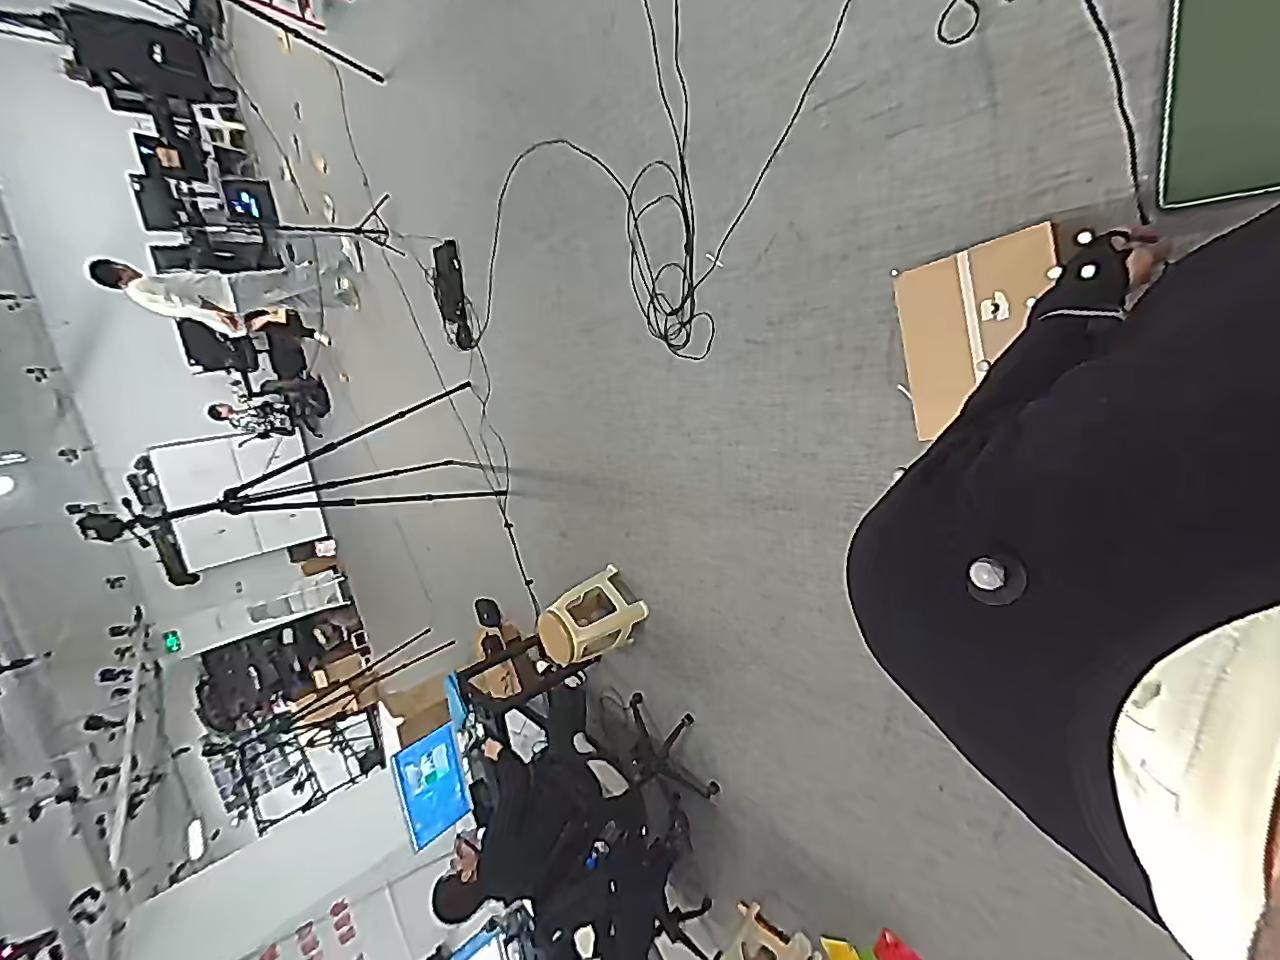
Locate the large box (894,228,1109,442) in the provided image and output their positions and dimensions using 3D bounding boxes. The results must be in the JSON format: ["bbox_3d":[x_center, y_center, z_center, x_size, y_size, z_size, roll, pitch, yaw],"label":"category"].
[{"bbox_3d":[0.860,-0.327,1.286,0.320,0.320,0.408,-6,98,51],"label":"large box"}]
